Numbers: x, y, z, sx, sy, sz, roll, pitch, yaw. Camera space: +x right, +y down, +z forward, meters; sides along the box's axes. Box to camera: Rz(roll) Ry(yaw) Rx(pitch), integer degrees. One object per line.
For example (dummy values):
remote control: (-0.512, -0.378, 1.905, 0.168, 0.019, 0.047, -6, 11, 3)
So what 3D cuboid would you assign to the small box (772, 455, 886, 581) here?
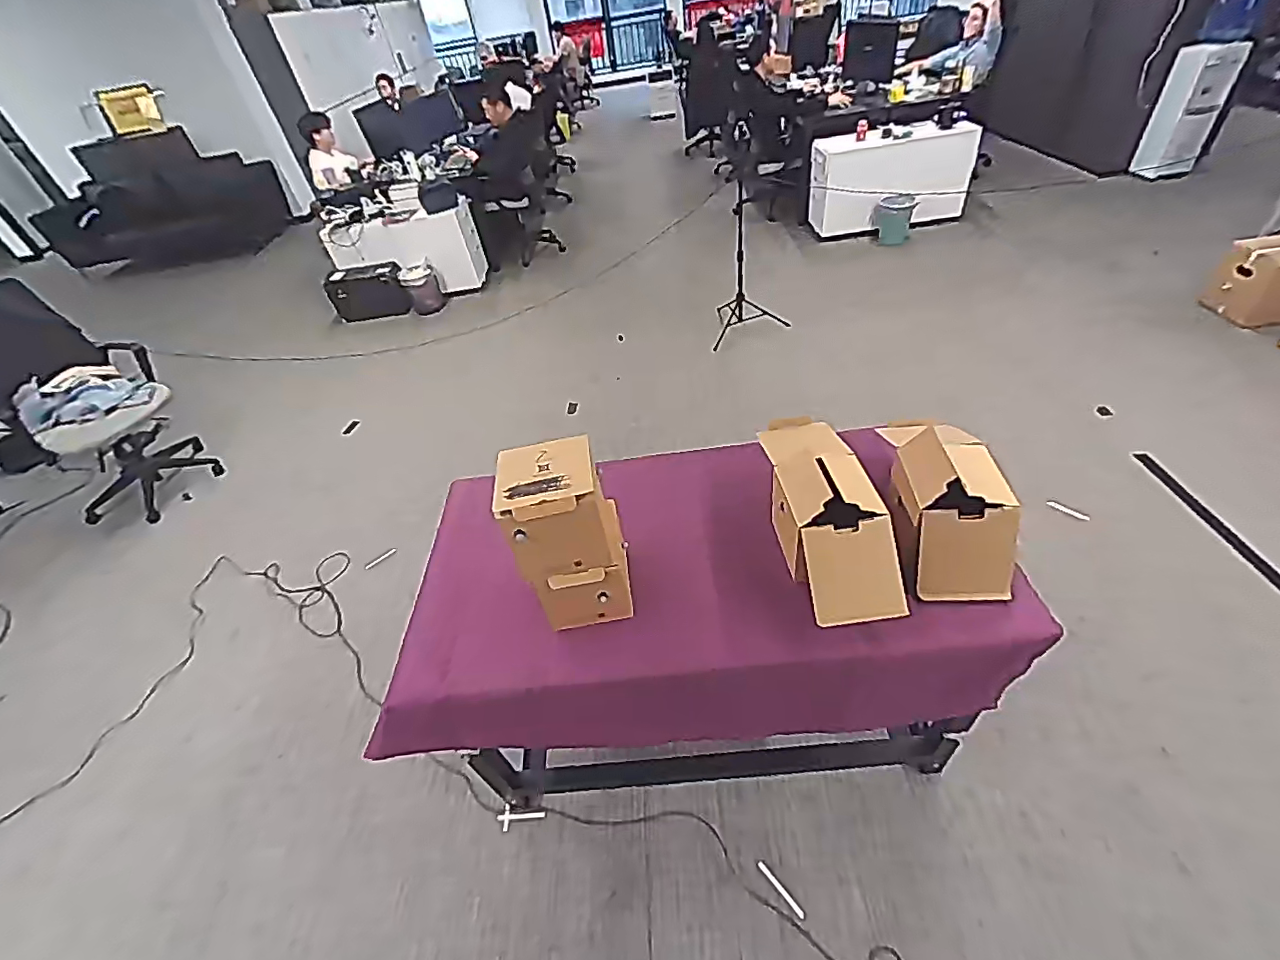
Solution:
small box: (0.365, 0.076, 1.082, 0.168, 0.176, 0.179, -9, 43, 3)

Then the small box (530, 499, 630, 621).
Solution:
small box: (-0.115, 0.166, 1.081, 0.168, 0.176, 0.179, -9, 42, 0)
